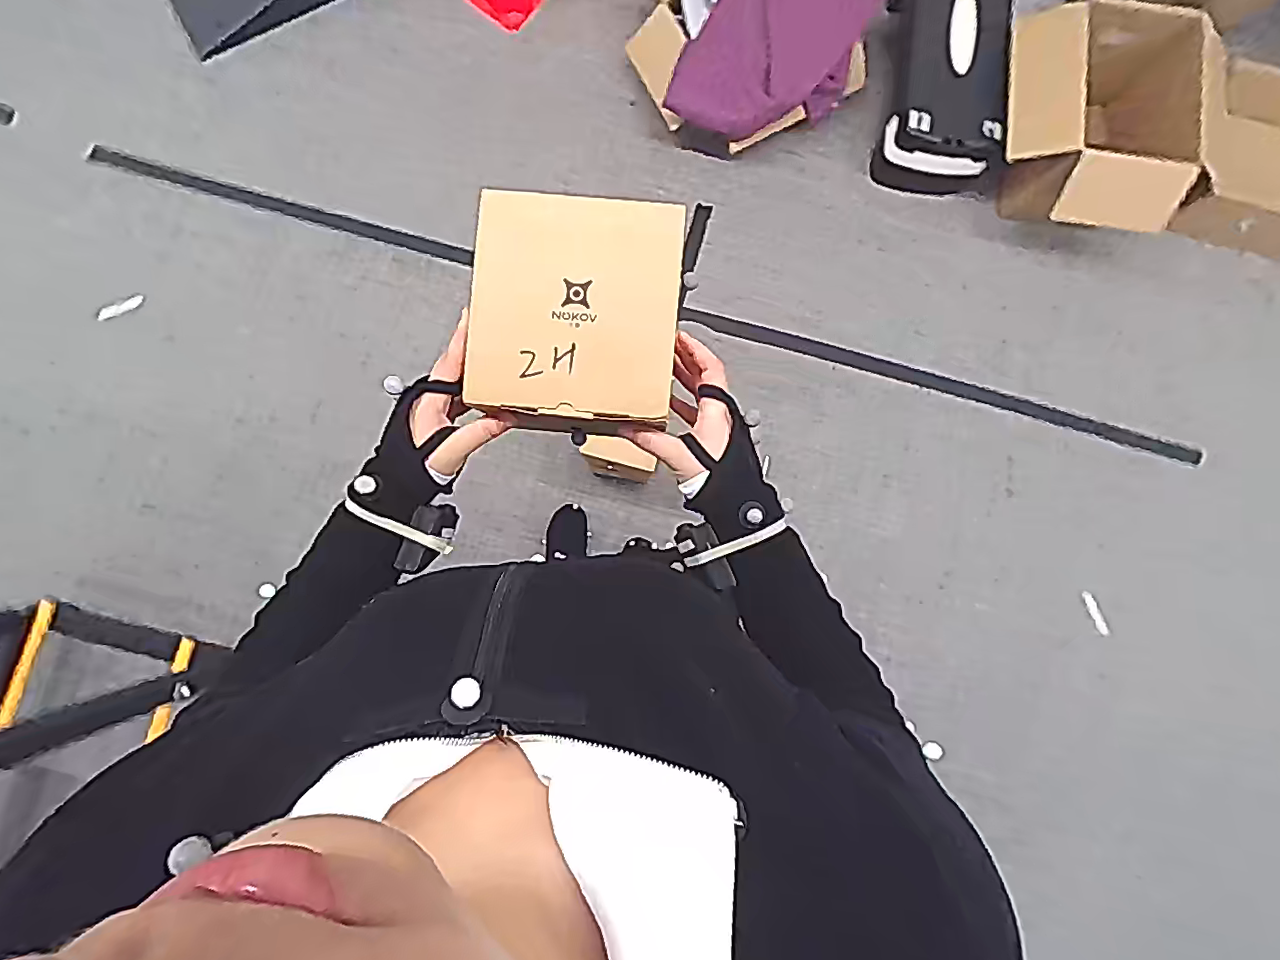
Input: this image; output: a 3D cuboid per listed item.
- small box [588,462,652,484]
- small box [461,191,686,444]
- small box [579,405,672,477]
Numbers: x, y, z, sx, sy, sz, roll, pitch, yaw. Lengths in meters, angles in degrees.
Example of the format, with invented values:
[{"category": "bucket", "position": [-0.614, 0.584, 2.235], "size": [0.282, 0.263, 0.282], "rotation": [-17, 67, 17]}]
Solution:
[{"category": "small box", "position": [-0.038, -0.093, 1.449], "size": [0.168, 0.176, 0.179], "rotation": [11, 86, 0]}, {"category": "small box", "position": [-0.051, -0.134, 0.503], "size": [0.168, 0.176, 0.179], "rotation": [4, 88, 1]}, {"category": "small box", "position": [-0.034, -0.108, 1.285], "size": [0.179, 0.176, 0.168], "rotation": [15, 85, 0]}]
